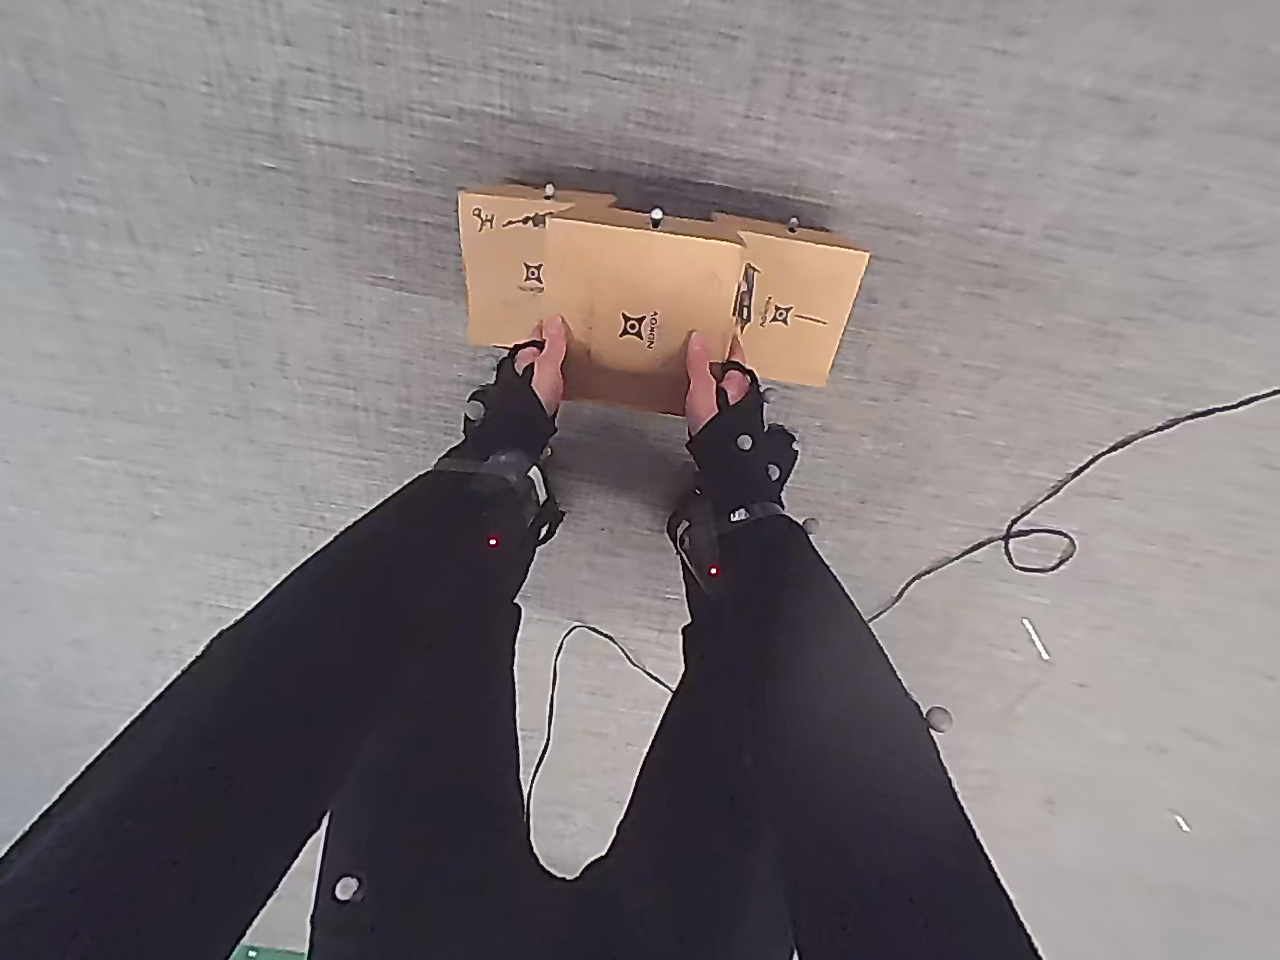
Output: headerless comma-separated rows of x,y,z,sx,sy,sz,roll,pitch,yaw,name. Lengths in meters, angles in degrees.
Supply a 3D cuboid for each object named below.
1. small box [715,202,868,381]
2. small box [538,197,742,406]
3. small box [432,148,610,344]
0.162,-0.253,0.708,0.179,0.176,0.168,13,124,-2,small box
0.000,-0.196,0.571,0.179,0.176,0.168,9,120,1,small box
-0.122,-0.301,0.700,0.179,0.176,0.168,-18,116,18,small box
